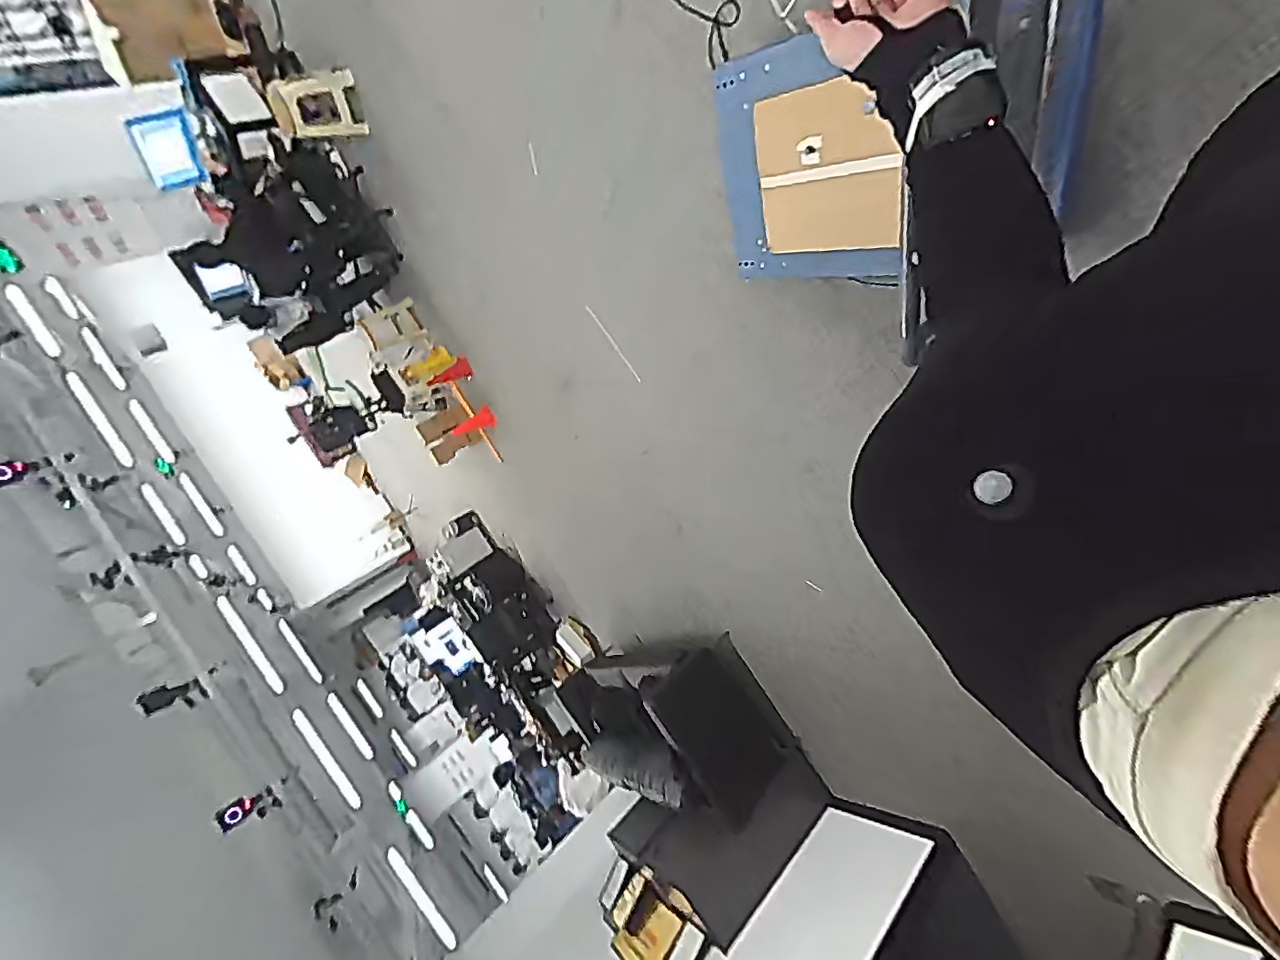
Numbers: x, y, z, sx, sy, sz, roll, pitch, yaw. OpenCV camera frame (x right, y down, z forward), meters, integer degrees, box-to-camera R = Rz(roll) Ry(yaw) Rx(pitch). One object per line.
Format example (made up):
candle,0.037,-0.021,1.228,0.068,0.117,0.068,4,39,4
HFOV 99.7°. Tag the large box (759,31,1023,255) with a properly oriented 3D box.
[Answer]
large box,0.525,-0.694,1.159,0.408,0.320,0.320,22,136,46
